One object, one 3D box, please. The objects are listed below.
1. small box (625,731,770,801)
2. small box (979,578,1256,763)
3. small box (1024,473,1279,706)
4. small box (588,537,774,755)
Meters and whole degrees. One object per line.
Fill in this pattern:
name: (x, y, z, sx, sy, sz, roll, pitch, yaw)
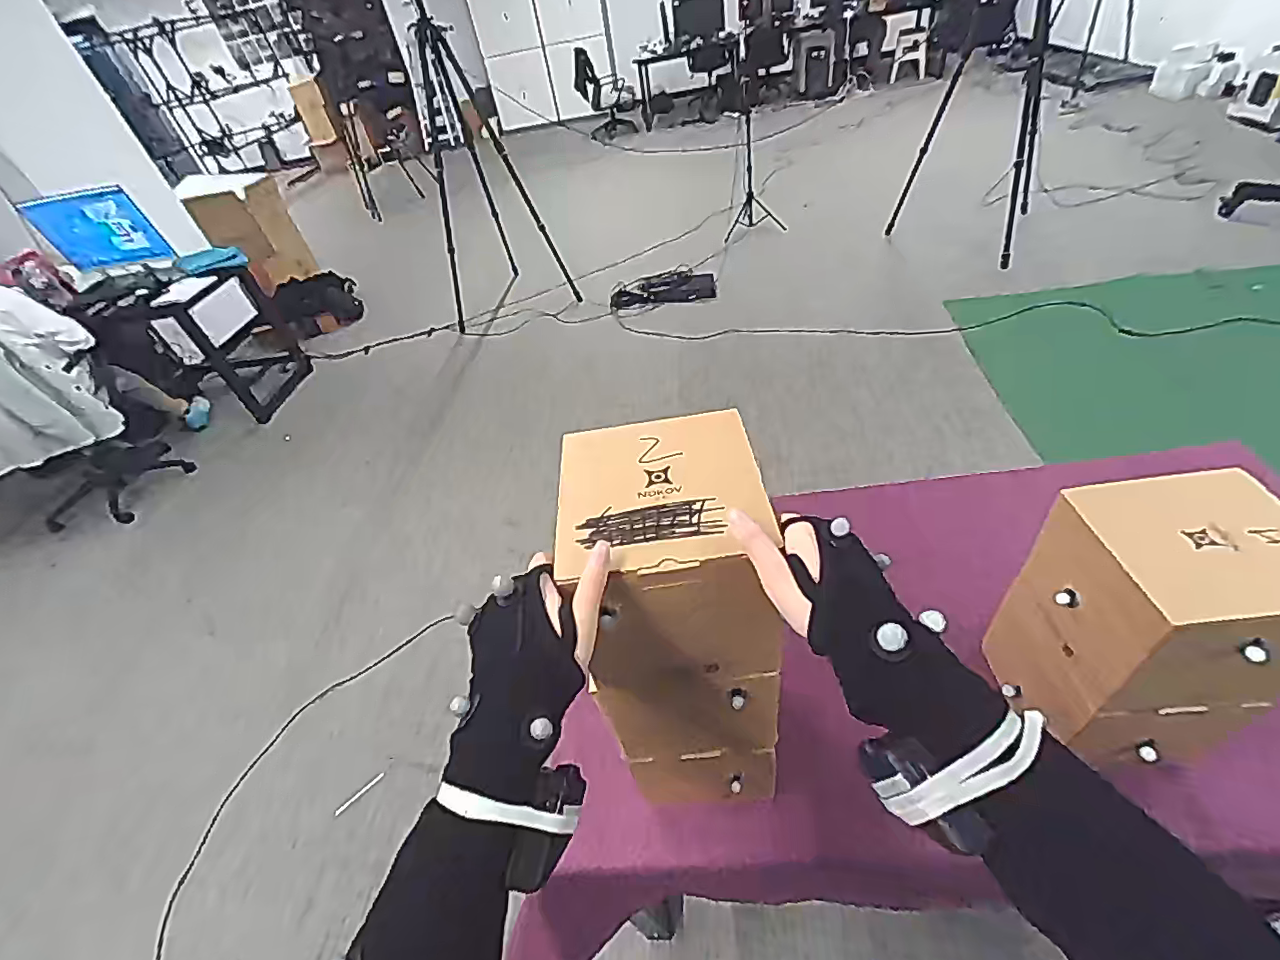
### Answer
small box: (0.076, 0.305, 0.711, 0.168, 0.176, 0.179, -7, 42, 5)
small box: (0.559, 0.235, 0.669, 0.168, 0.176, 0.179, -6, 44, 7)
small box: (0.534, 0.117, 0.555, 0.179, 0.176, 0.168, -7, 43, 6)
small box: (0.046, 0.188, 0.603, 0.179, 0.176, 0.168, -8, 43, 3)
